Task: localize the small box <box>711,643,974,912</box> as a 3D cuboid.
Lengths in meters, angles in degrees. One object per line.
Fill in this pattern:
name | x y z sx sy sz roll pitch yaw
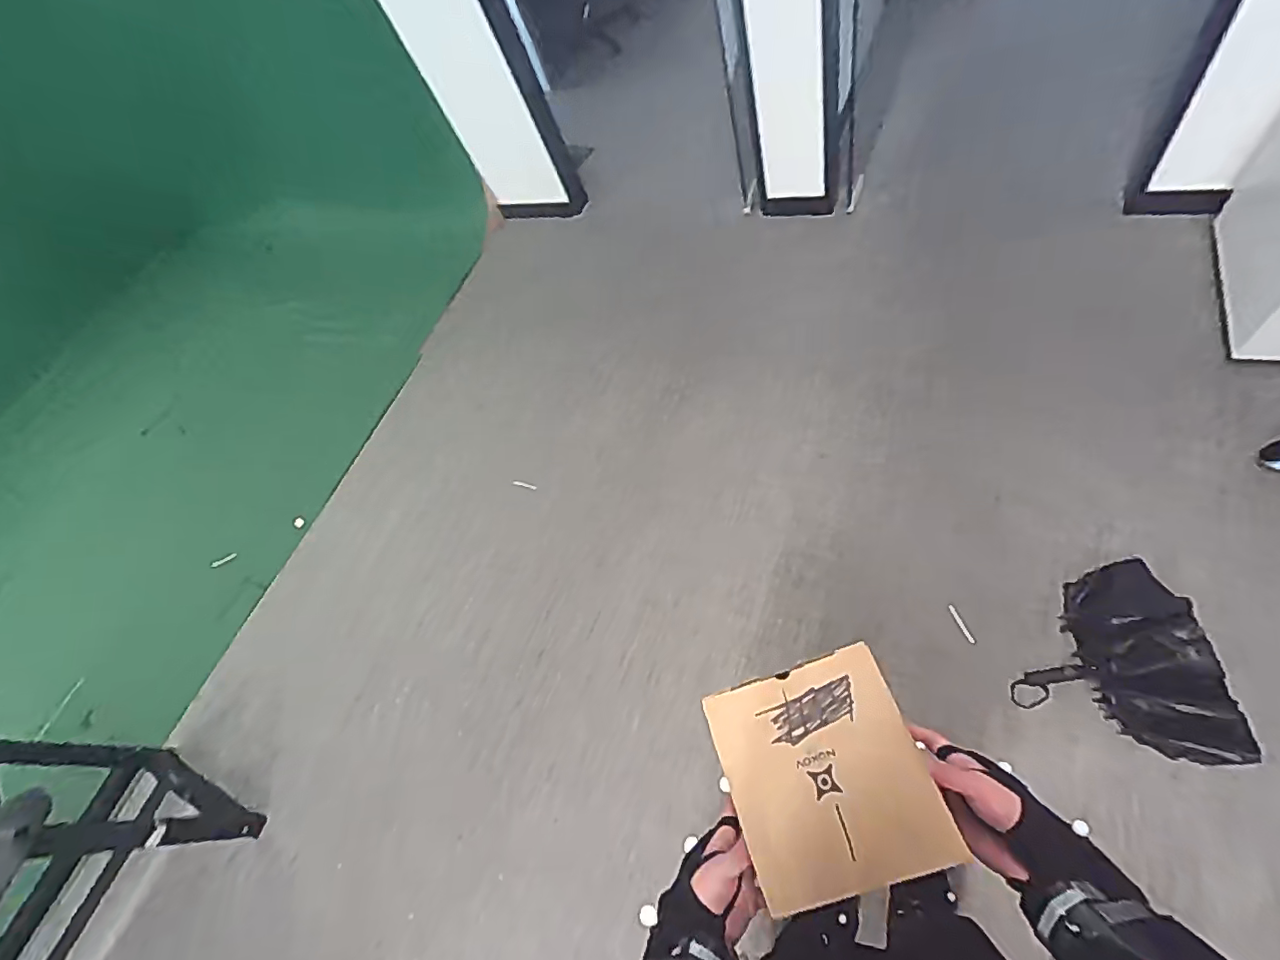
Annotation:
small box | 0.186 0.286 0.538 0.168 0.176 0.179 -23 59 7
